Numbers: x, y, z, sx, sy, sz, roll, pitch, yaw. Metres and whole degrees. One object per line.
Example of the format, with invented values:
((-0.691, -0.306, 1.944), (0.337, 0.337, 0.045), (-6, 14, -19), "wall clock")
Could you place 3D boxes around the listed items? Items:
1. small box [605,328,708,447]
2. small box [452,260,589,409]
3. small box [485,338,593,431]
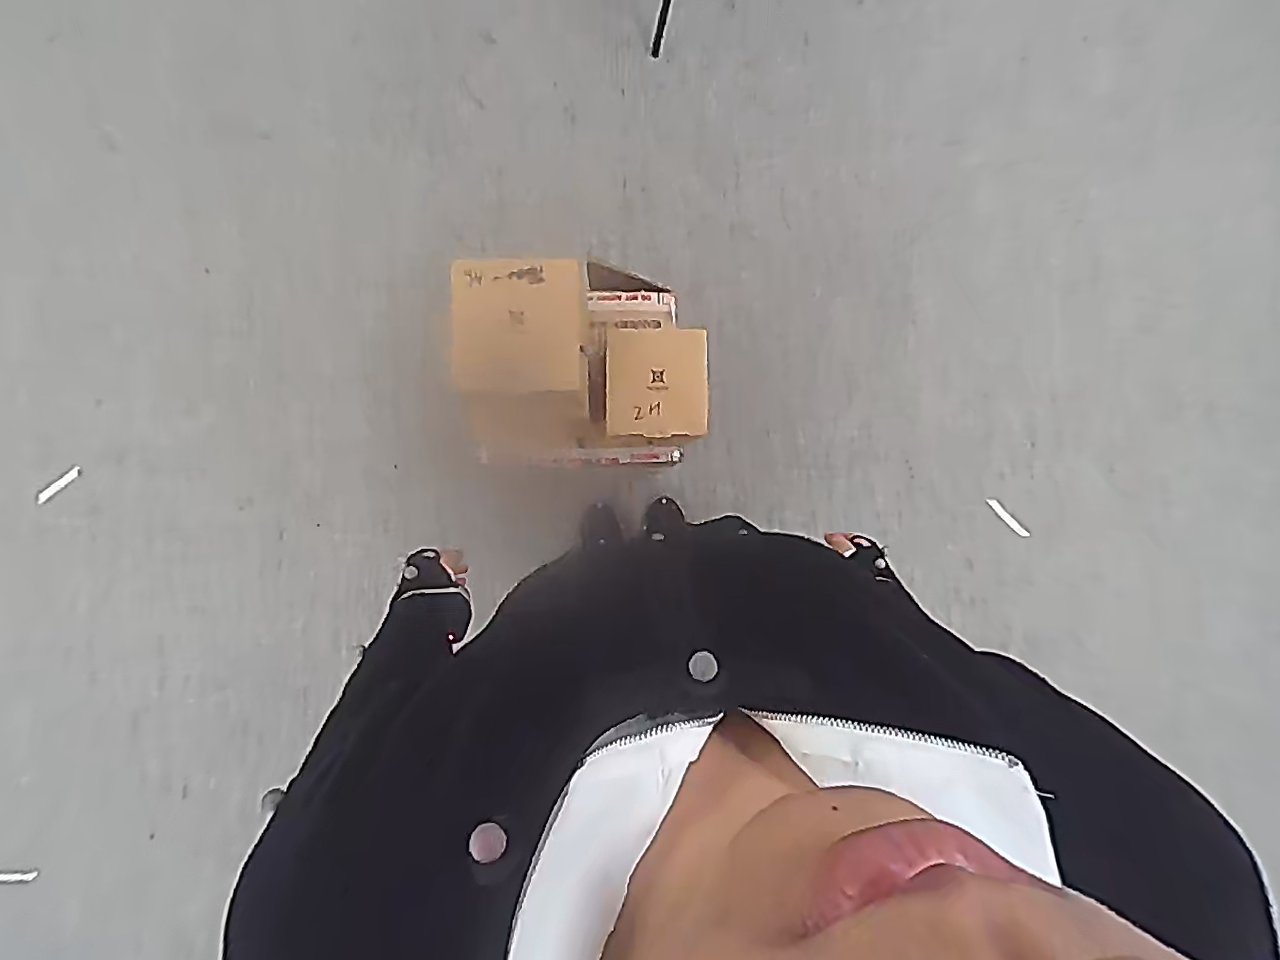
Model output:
((0.022, -0.154, 0.947), (0.168, 0.176, 0.179), (0, 89, -4), "small box")
((-0.161, -0.196, 0.773), (0.168, 0.176, 0.179), (0, 91, -2), "small box")
((-0.170, -0.182, 0.937), (0.168, 0.176, 0.179), (-3, 91, -2), "small box")
